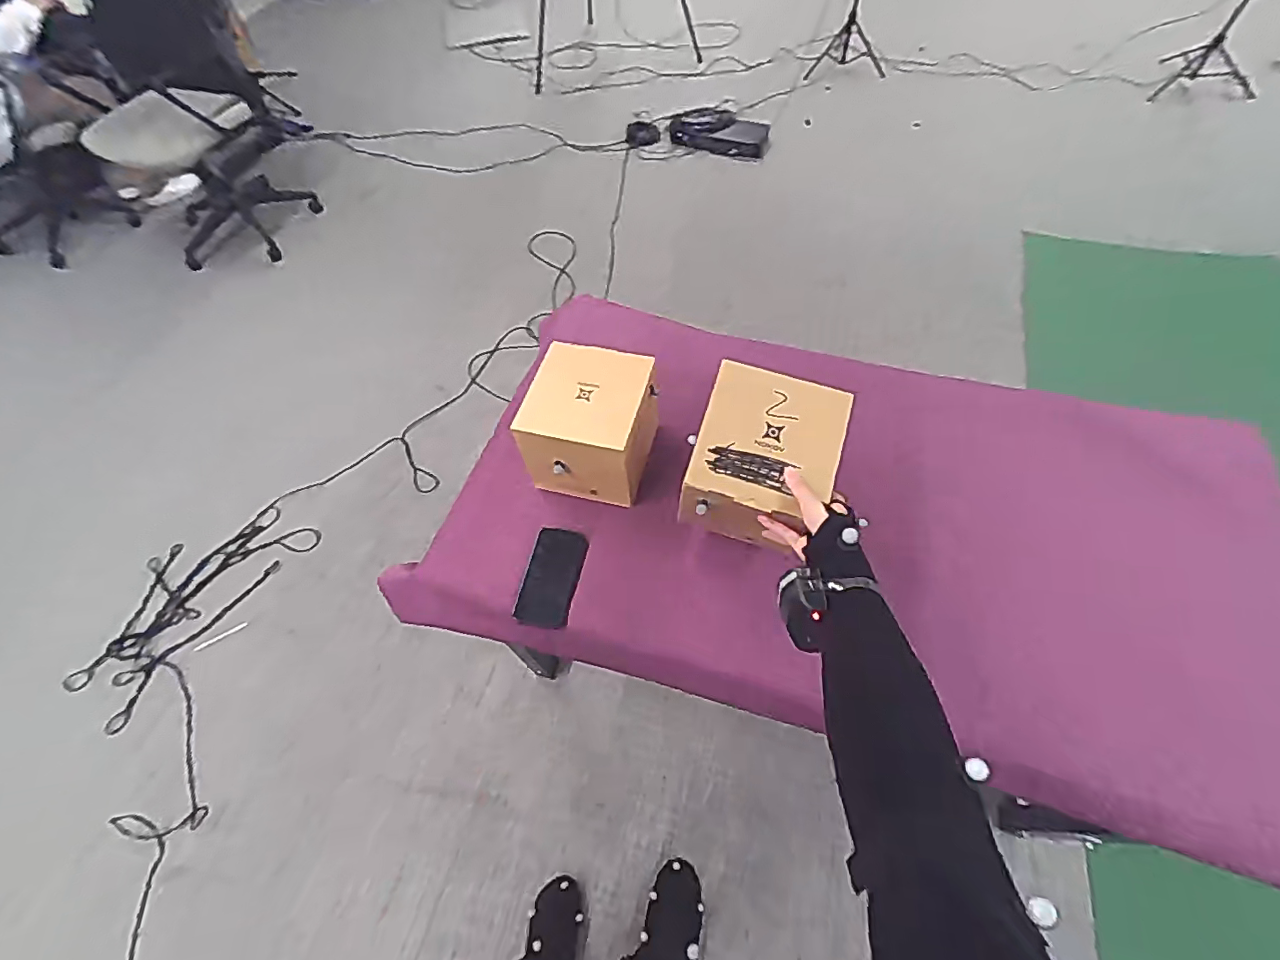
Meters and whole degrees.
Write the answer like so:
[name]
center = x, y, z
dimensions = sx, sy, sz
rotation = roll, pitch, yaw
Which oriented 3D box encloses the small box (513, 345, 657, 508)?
[small box]
center = -0.071, -0.079, 0.837
dimensions = 0.168, 0.176, 0.179
rotation = 11, 58, 11
